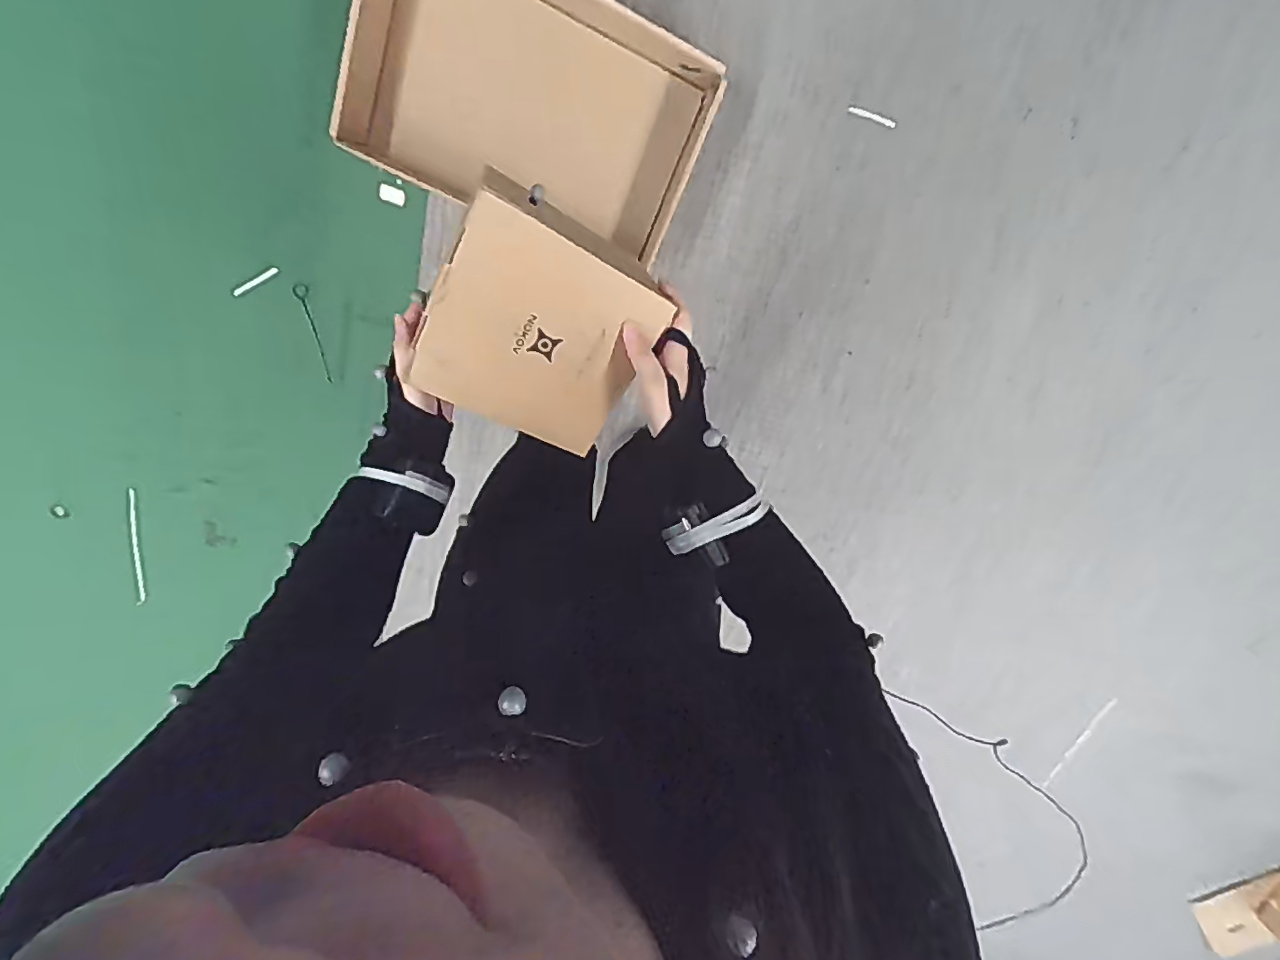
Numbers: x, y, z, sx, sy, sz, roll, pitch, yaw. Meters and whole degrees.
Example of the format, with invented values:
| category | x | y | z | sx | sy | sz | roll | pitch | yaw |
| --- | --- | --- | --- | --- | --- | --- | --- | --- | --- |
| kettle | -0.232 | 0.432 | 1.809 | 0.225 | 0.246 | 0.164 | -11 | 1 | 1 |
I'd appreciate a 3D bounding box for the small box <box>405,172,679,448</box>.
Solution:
| category | x | y | z | sx | sy | sz | roll | pitch | yaw |
| --- | --- | --- | --- | --- | --- | --- | --- | --- | --- |
| small box | -0.096 | -0.165 | 0.514 | 0.179 | 0.176 | 0.168 | 24 | 115 | -28 |
